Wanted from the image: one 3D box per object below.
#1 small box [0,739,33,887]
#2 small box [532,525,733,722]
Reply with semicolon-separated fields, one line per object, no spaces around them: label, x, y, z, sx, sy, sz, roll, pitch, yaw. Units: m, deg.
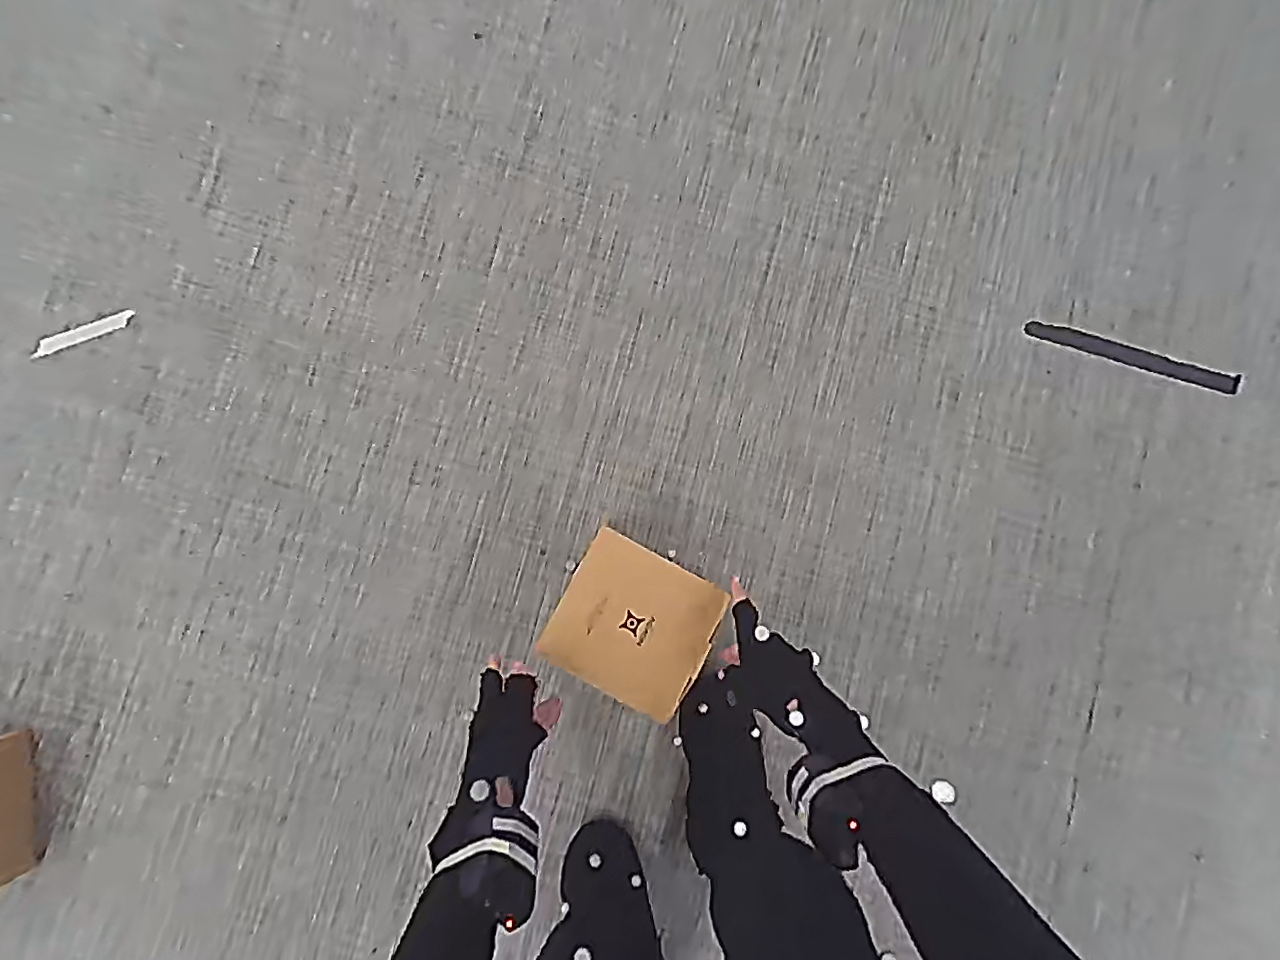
small box;-0.847;0.407;0.600;0.168;0.176;0.179;-7;88;-4
small box;-0.012;0.167;0.686;0.179;0.176;0.168;28;83;-1
